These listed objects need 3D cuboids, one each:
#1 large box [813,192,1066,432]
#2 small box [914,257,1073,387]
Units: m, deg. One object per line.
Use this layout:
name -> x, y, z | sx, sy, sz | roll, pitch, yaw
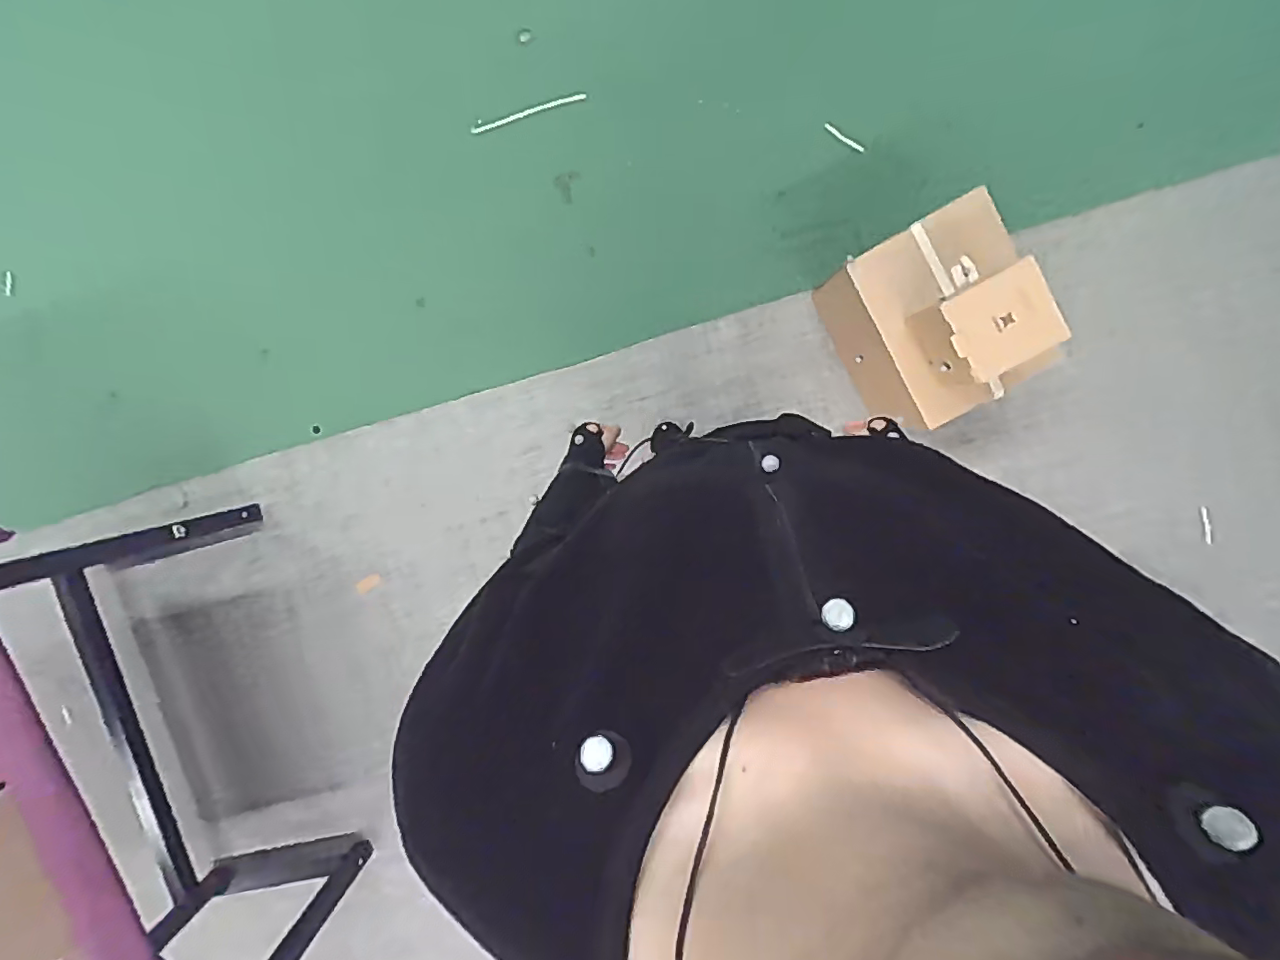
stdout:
large box -> 0.667, -0.361, 1.274 | 0.320, 0.320, 0.408 | -29, 93, 6
small box -> 0.657, -0.288, 1.035 | 0.179, 0.176, 0.168 | -28, 94, 8
